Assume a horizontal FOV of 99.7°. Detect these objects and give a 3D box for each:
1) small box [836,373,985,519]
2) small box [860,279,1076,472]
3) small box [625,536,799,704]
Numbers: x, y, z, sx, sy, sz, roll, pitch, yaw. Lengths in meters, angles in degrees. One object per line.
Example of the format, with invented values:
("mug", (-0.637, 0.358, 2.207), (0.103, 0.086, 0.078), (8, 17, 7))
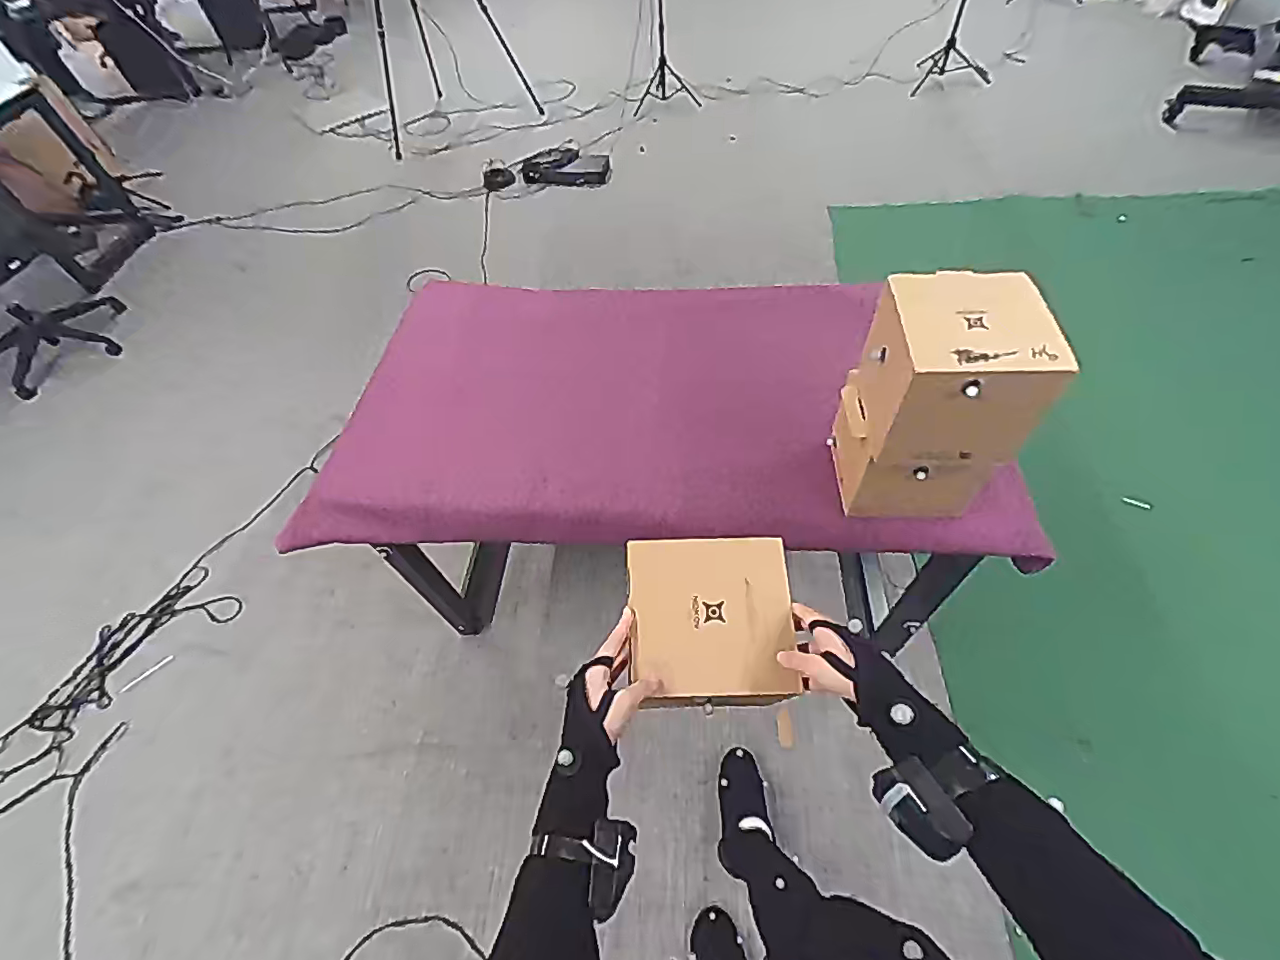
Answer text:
("small box", (0.409, -0.050, 0.829), (0.179, 0.176, 0.168), (-1, 54, 6))
("small box", (0.390, -0.131, 0.686), (0.168, 0.176, 0.179), (0, 54, 8))
("small box", (0.074, 0.173, 0.644), (0.179, 0.176, 0.168), (-1, 64, 1))
